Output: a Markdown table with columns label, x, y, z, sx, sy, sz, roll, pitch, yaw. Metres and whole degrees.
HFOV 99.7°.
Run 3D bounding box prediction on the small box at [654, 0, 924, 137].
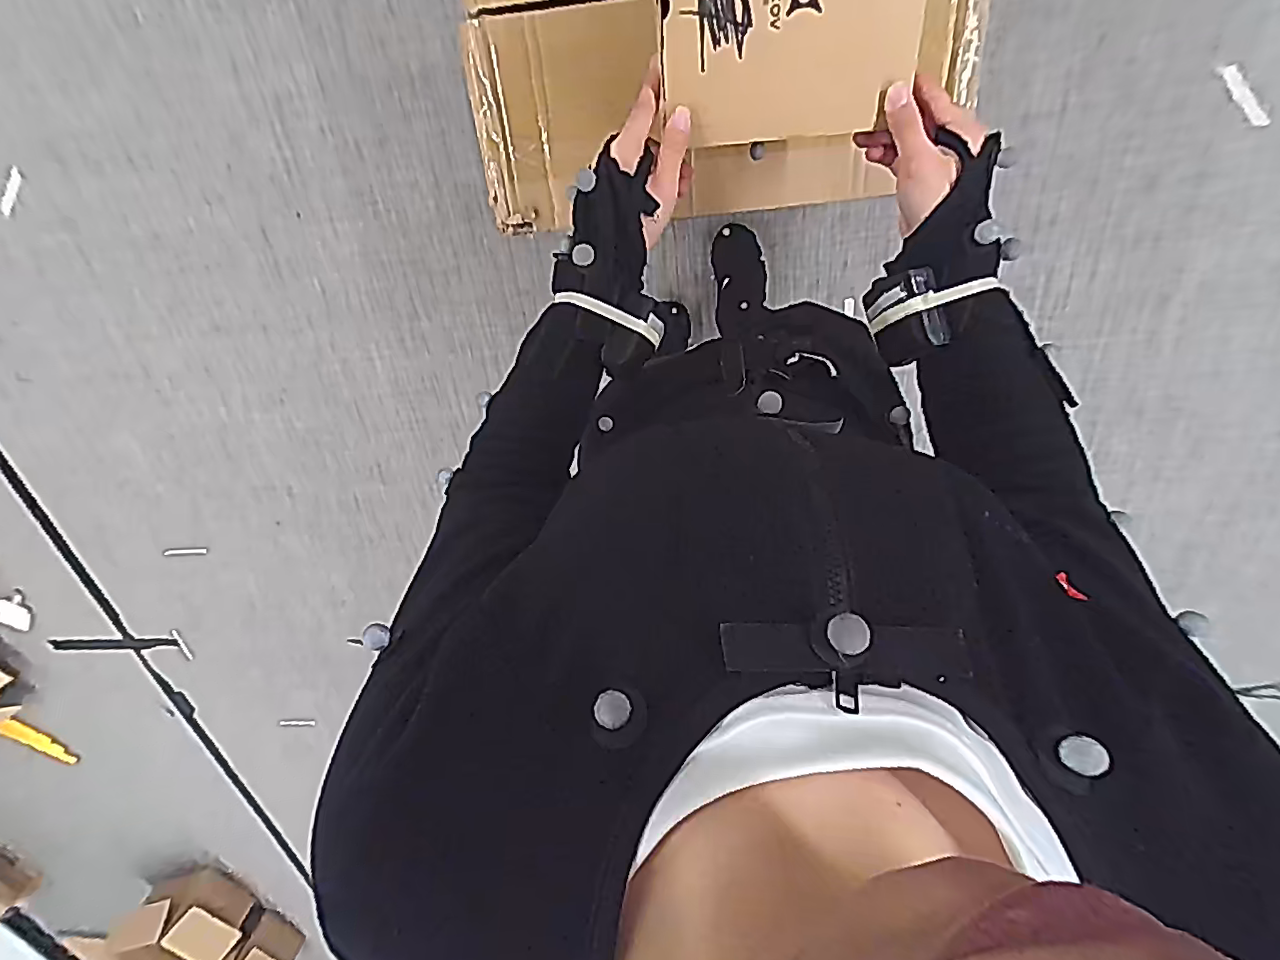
| label | x | y | z | sx | sy | sz | roll | pitch | yaw |
| --- | --- | --- | --- | --- | --- | --- | --- | --- | --- |
| small box | 0.099 | -0.364 | 0.412 | 0.179 | 0.176 | 0.168 | -3 | 124 | 4 |
